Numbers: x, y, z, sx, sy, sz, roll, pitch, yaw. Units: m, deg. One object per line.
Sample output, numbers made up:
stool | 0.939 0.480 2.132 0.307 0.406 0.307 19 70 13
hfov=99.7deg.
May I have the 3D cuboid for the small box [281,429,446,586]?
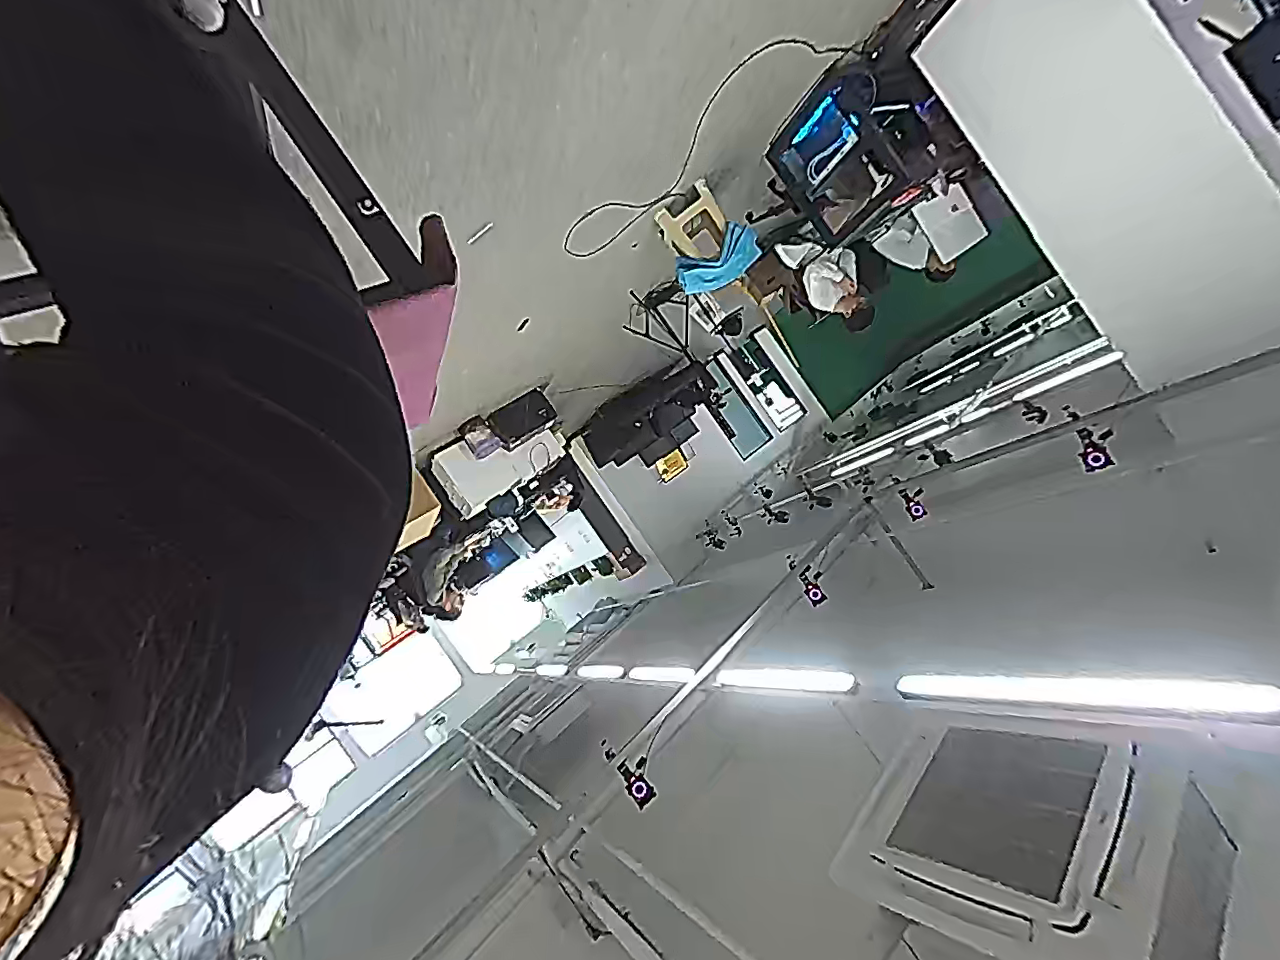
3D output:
small box | -0.444 0.043 0.872 0.168 0.176 0.179 -35 179 -35
